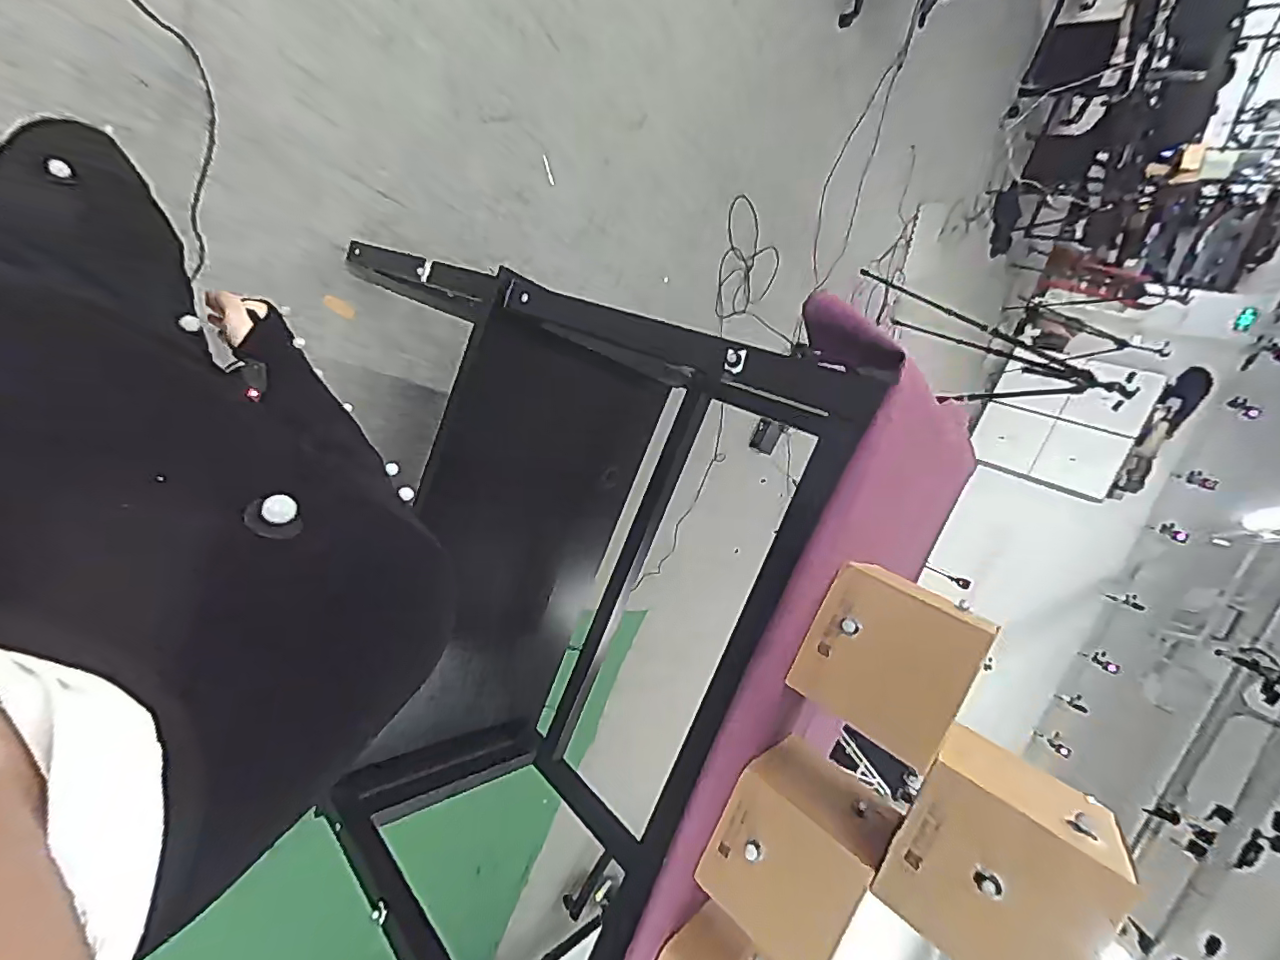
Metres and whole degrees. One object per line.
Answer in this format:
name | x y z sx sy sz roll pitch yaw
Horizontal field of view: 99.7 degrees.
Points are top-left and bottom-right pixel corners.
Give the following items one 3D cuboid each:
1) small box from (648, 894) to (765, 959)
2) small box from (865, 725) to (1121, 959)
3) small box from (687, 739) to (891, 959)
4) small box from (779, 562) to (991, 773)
small box | 0.092 0.716 0.732 0.179 0.176 0.168 15 99 -55
small box | 0.365 0.398 0.580 0.179 0.176 0.168 14 101 -54
small box | 0.191 0.464 0.692 0.179 0.176 0.168 15 100 -53
small box | 0.299 0.211 0.660 0.179 0.176 0.168 18 98 -54
